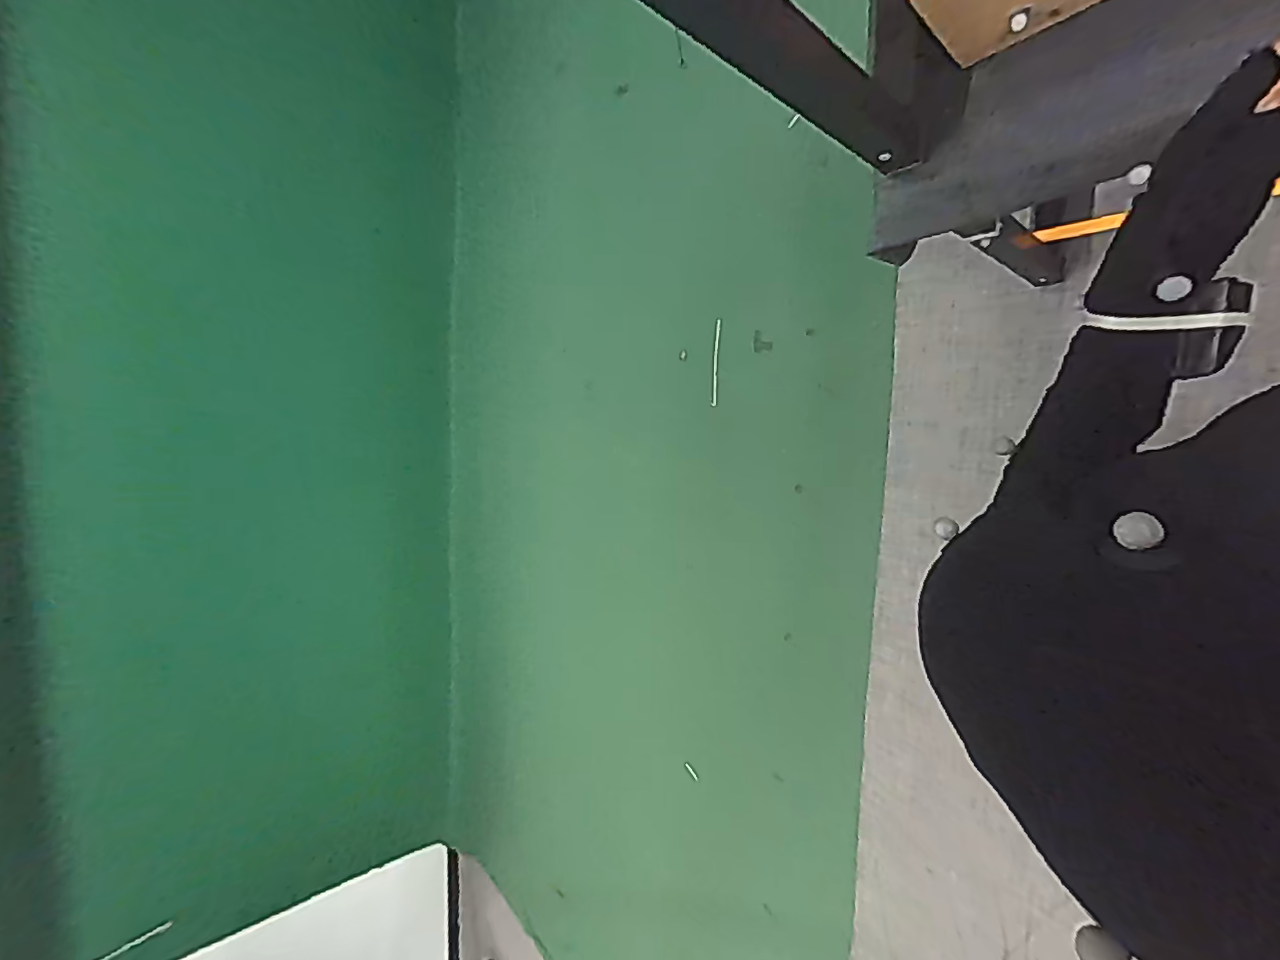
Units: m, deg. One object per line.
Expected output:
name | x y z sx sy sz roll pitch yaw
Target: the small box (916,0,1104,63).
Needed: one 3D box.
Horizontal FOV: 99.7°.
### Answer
small box | 0.410 -0.616 0.587 0.168 0.176 0.179 3 94 49
